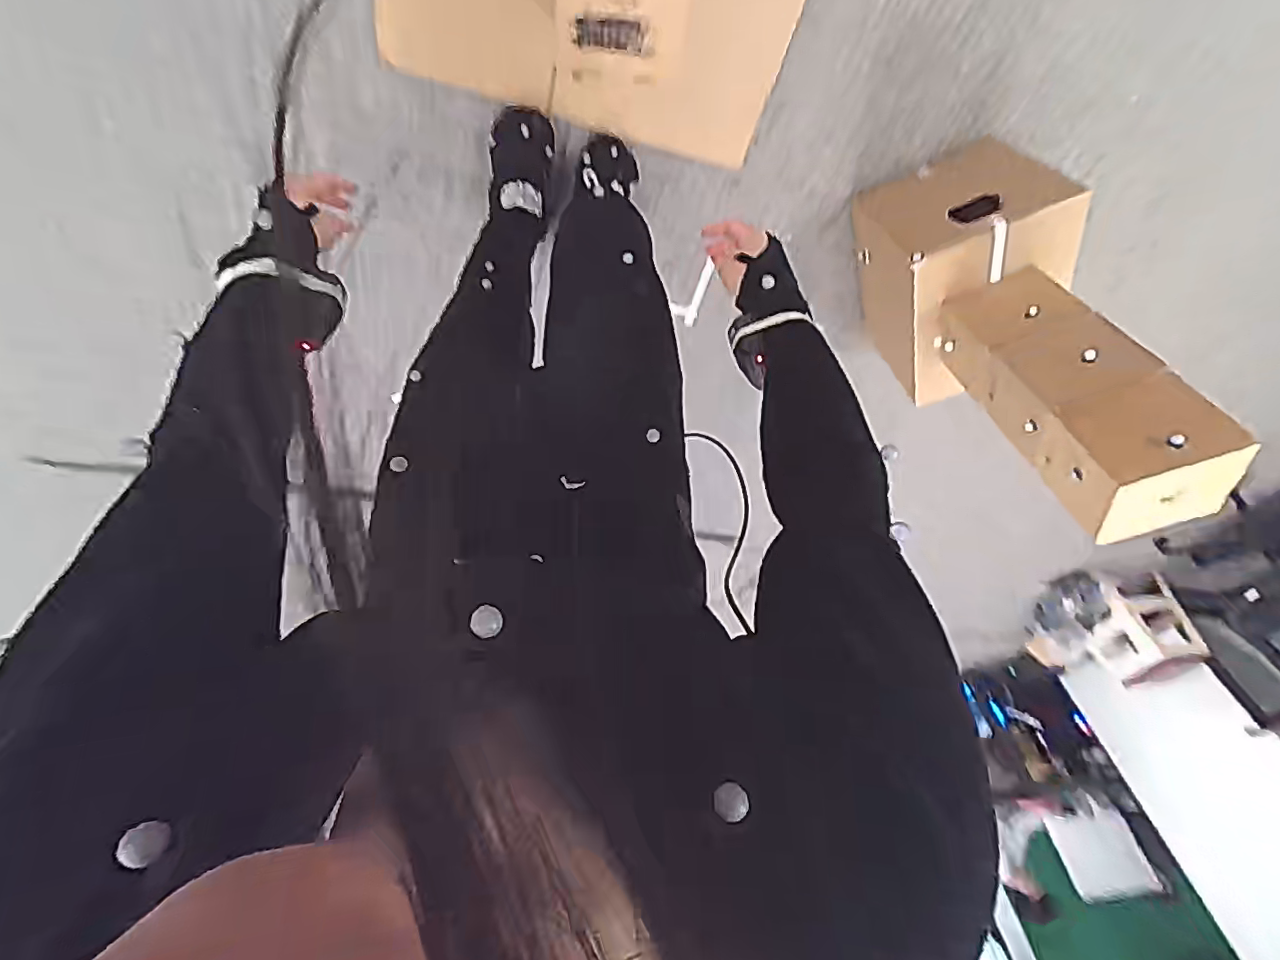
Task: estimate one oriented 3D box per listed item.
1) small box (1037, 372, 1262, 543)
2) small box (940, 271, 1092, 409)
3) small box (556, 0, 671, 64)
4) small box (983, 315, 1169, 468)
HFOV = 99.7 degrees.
[{"bbox_3d":[0.763,-0.035,0.840,0.179,0.176,0.168,-21,136,12],"label":"small box"},{"bbox_3d":[0.720,-0.276,1.057,0.179,0.176,0.168,-20,137,13],"label":"small box"},{"bbox_3d":[-0.042,-0.771,0.824,0.168,0.176,0.179,2,137,-9],"label":"small box"},{"bbox_3d":[0.743,-0.157,0.946,0.179,0.176,0.168,-21,136,12],"label":"small box"}]
